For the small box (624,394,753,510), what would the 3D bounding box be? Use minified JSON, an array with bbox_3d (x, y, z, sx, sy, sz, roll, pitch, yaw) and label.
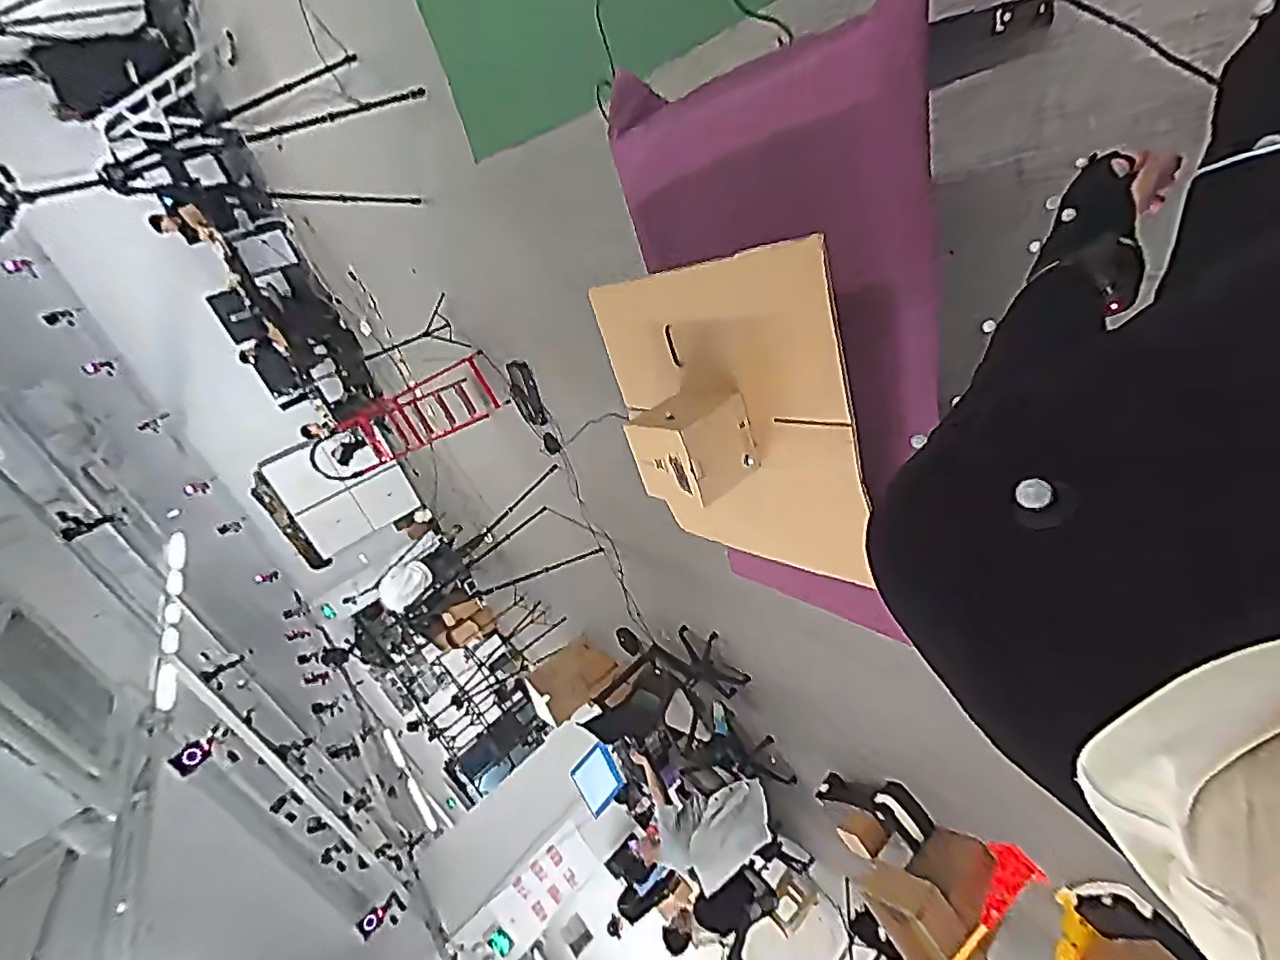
[{"bbox_3d":[0.103,-0.064,1.070,0.179,0.176,0.168,13,129,52],"label":"small box"}]
